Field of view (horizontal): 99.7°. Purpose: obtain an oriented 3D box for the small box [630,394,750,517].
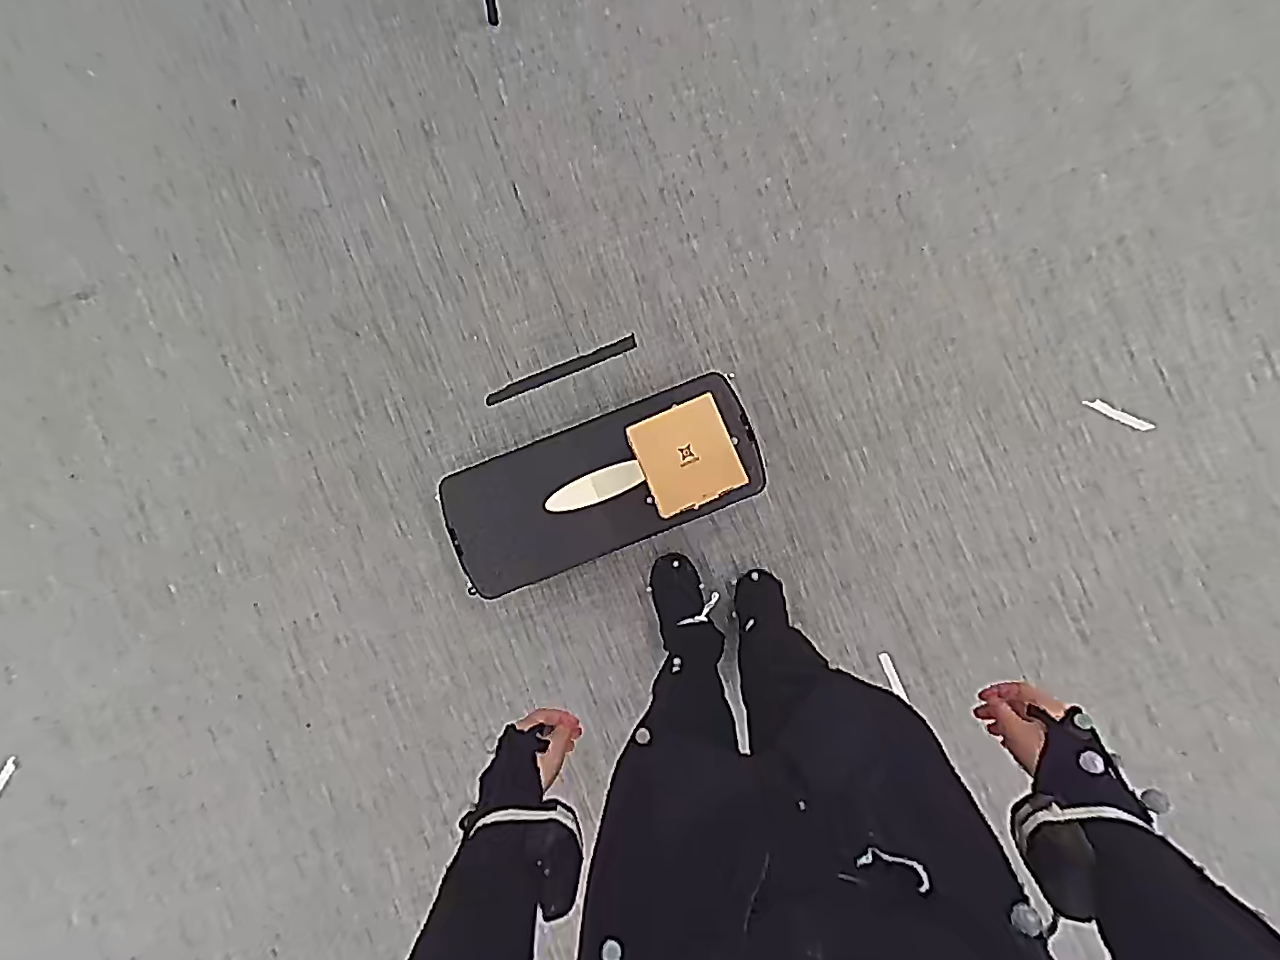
[{"bbox_3d":[0.086,-0.039,1.029,0.168,0.176,0.179,-23,88,-1],"label":"small box"}]
